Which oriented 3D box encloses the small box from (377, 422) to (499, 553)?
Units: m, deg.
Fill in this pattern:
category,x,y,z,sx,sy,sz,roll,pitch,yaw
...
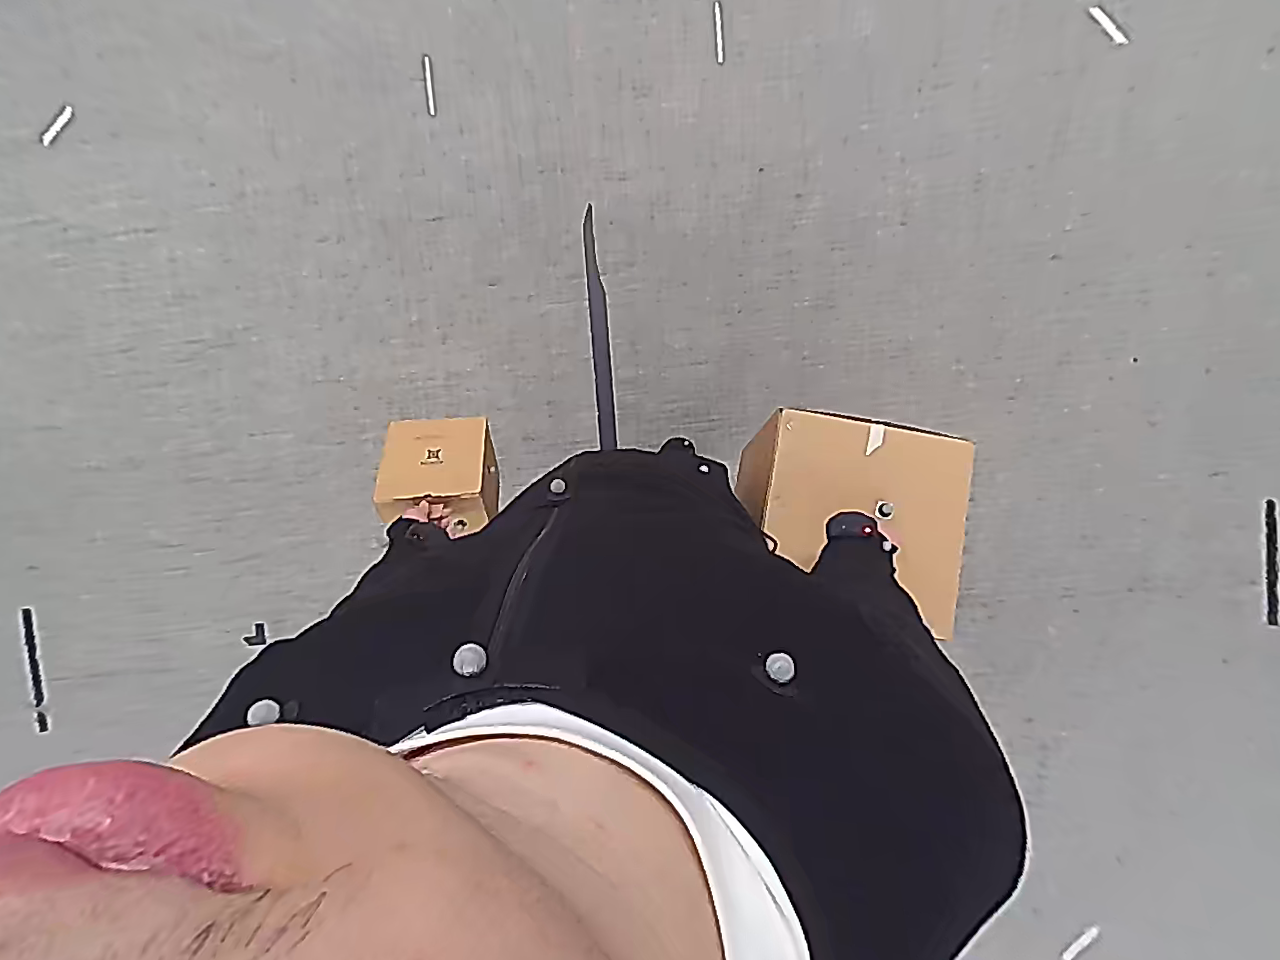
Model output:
category,x,y,z,sx,sy,sz,roll,pitch,yaw
small box,-0.350,0.019,0.973,0.168,0.179,0.176,-4,140,-8
